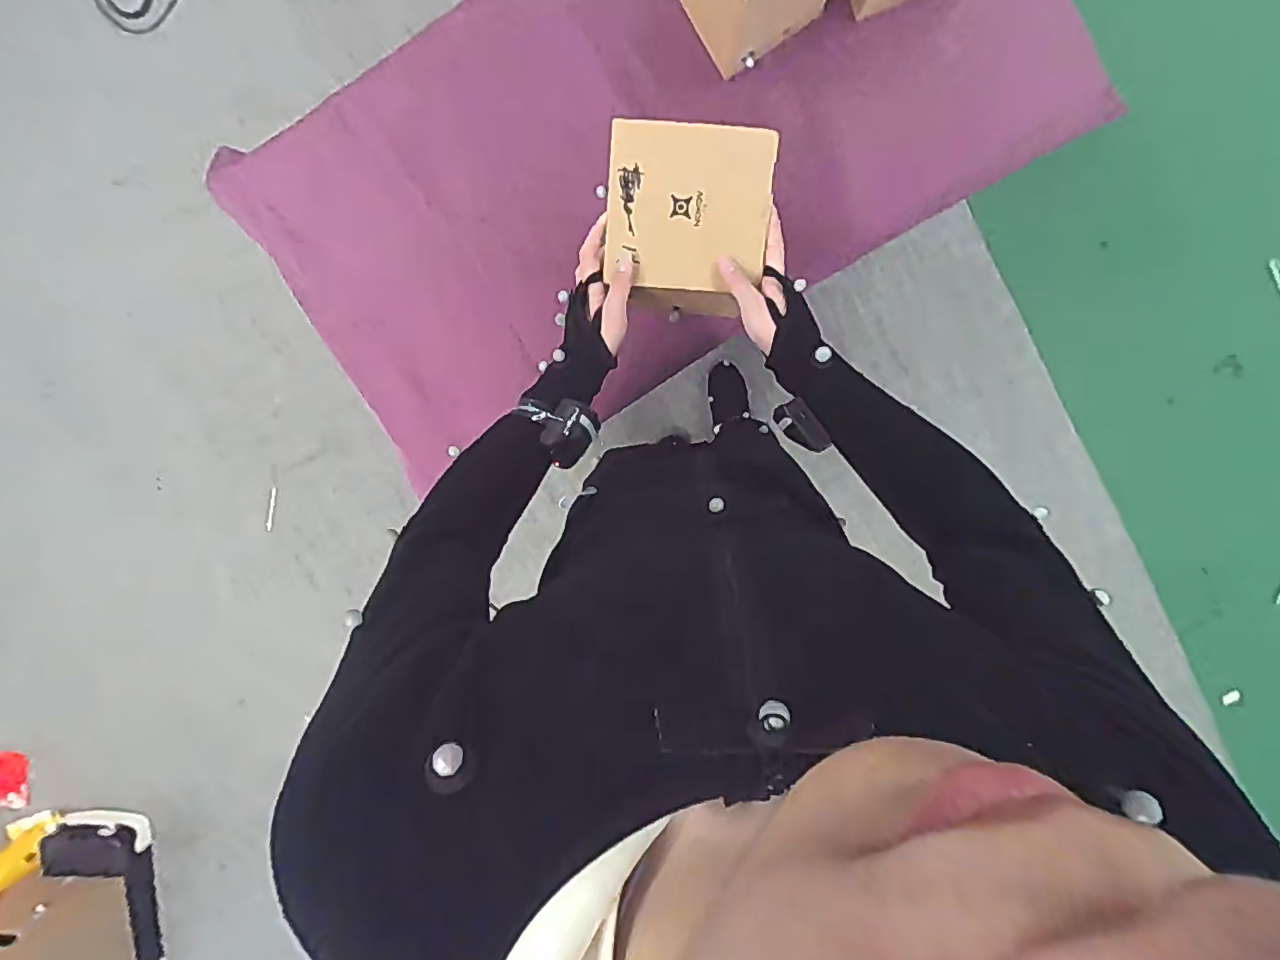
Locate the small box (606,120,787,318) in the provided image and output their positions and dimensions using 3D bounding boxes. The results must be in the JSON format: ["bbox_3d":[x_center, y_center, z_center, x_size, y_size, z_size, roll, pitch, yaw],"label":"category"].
[{"bbox_3d":[0.057,-0.293,0.647,0.179,0.176,0.168,6,99,-1],"label":"small box"}]
